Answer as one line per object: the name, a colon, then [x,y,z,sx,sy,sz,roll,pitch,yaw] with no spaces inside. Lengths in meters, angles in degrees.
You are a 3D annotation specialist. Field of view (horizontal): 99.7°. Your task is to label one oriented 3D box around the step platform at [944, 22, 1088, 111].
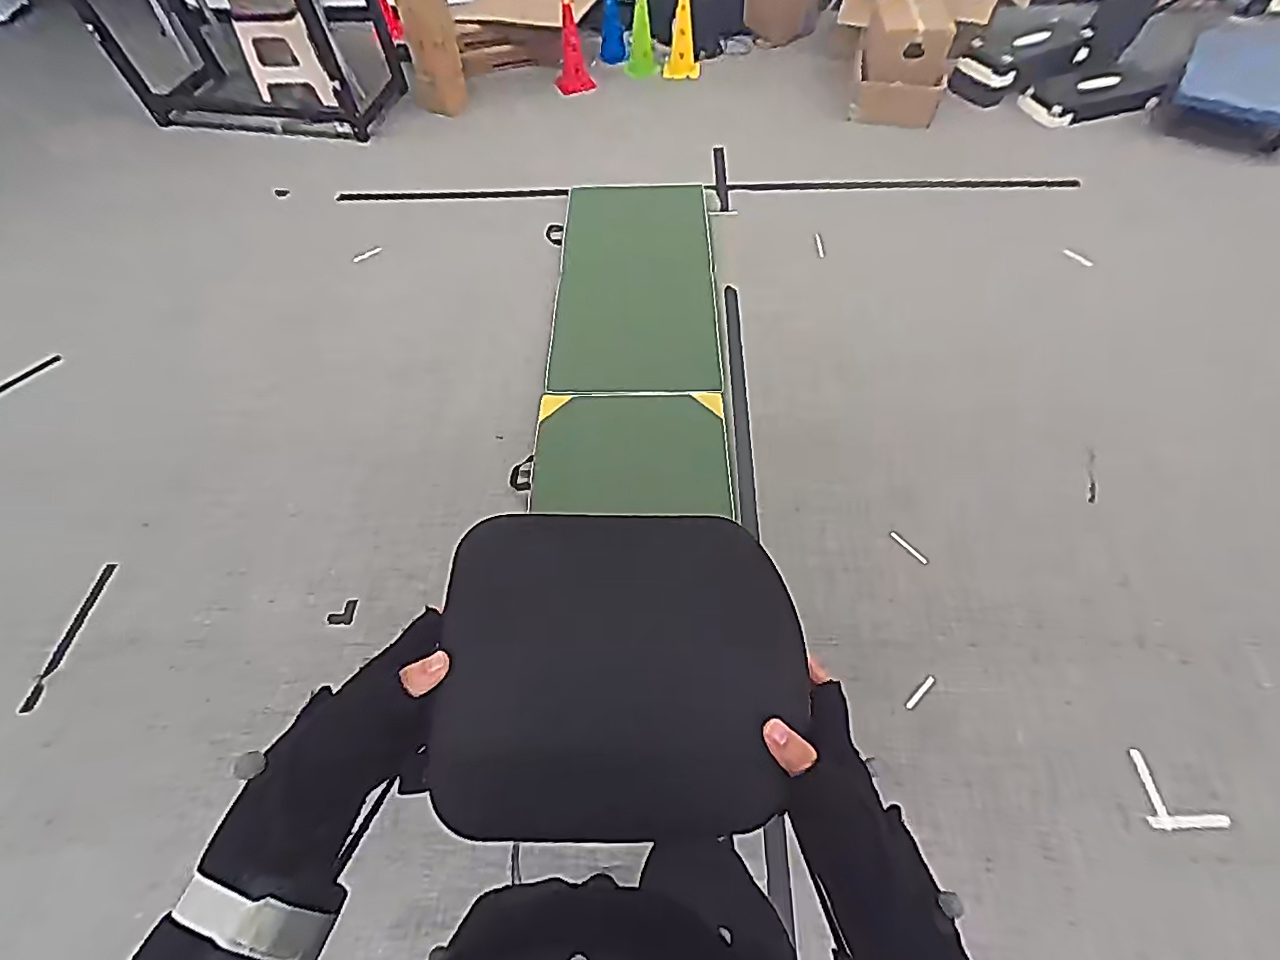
step platform: [1.962,-2.164,2.819,0.684,0.204,0.286,-26,62,-13]
